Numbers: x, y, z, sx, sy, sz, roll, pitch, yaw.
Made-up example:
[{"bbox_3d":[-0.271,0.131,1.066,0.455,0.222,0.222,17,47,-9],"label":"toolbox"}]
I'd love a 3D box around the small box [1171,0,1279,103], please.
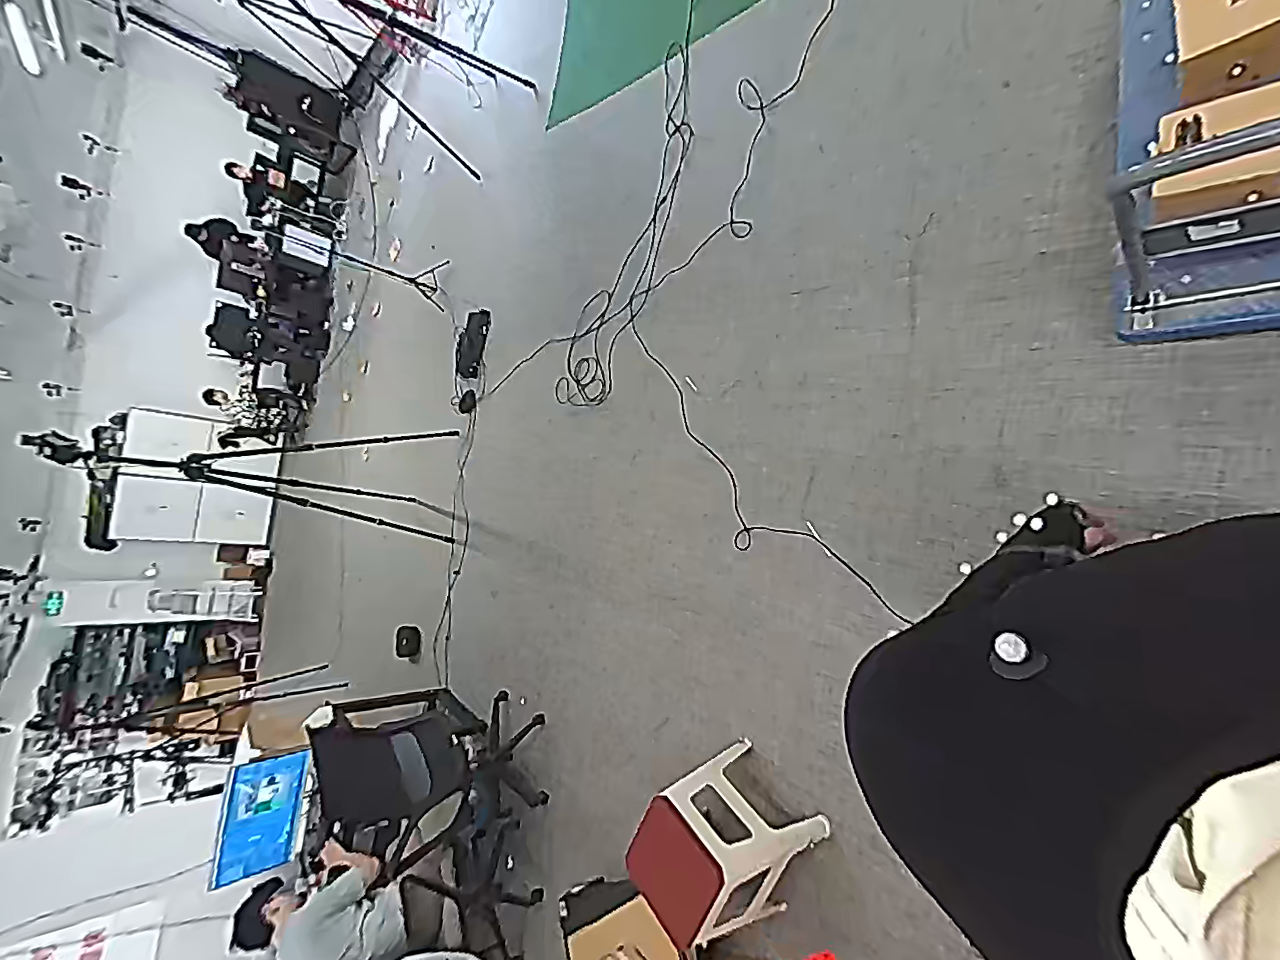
[{"bbox_3d":[1.145,-0.876,1.041,0.168,0.176,0.179,-4,81,45],"label":"small box"}]
